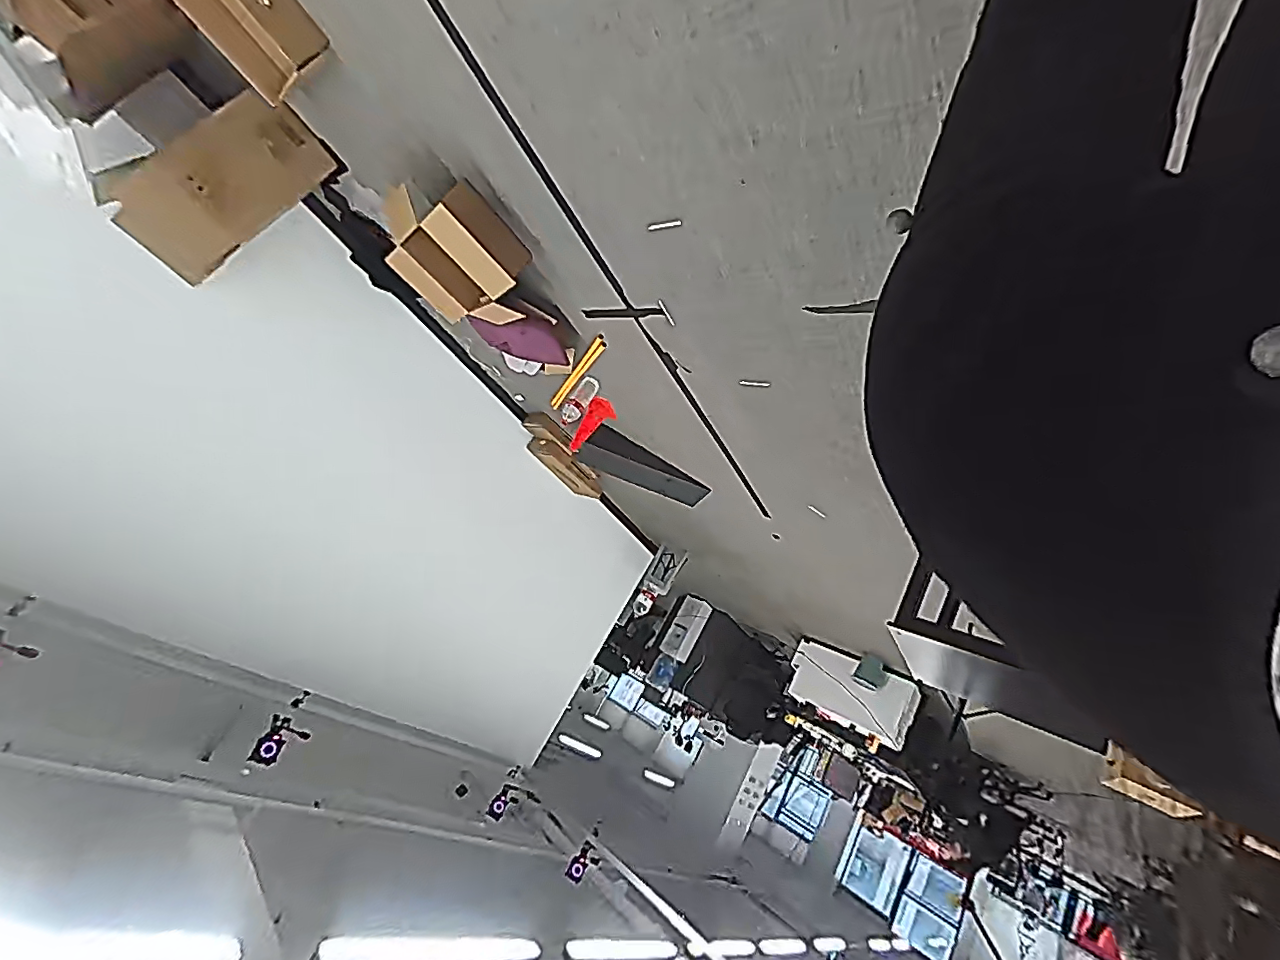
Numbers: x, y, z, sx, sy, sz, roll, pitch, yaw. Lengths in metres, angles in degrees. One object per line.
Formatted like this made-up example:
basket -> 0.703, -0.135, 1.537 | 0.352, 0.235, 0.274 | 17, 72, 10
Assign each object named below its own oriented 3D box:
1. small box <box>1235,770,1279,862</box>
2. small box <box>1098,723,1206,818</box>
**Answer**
small box -> 1.583, 0.829, 1.293 | 0.179, 0.176, 0.168 | 14, 155, 42
small box -> 1.403, 0.792, 1.482 | 0.168, 0.176, 0.179 | 20, 159, 33
